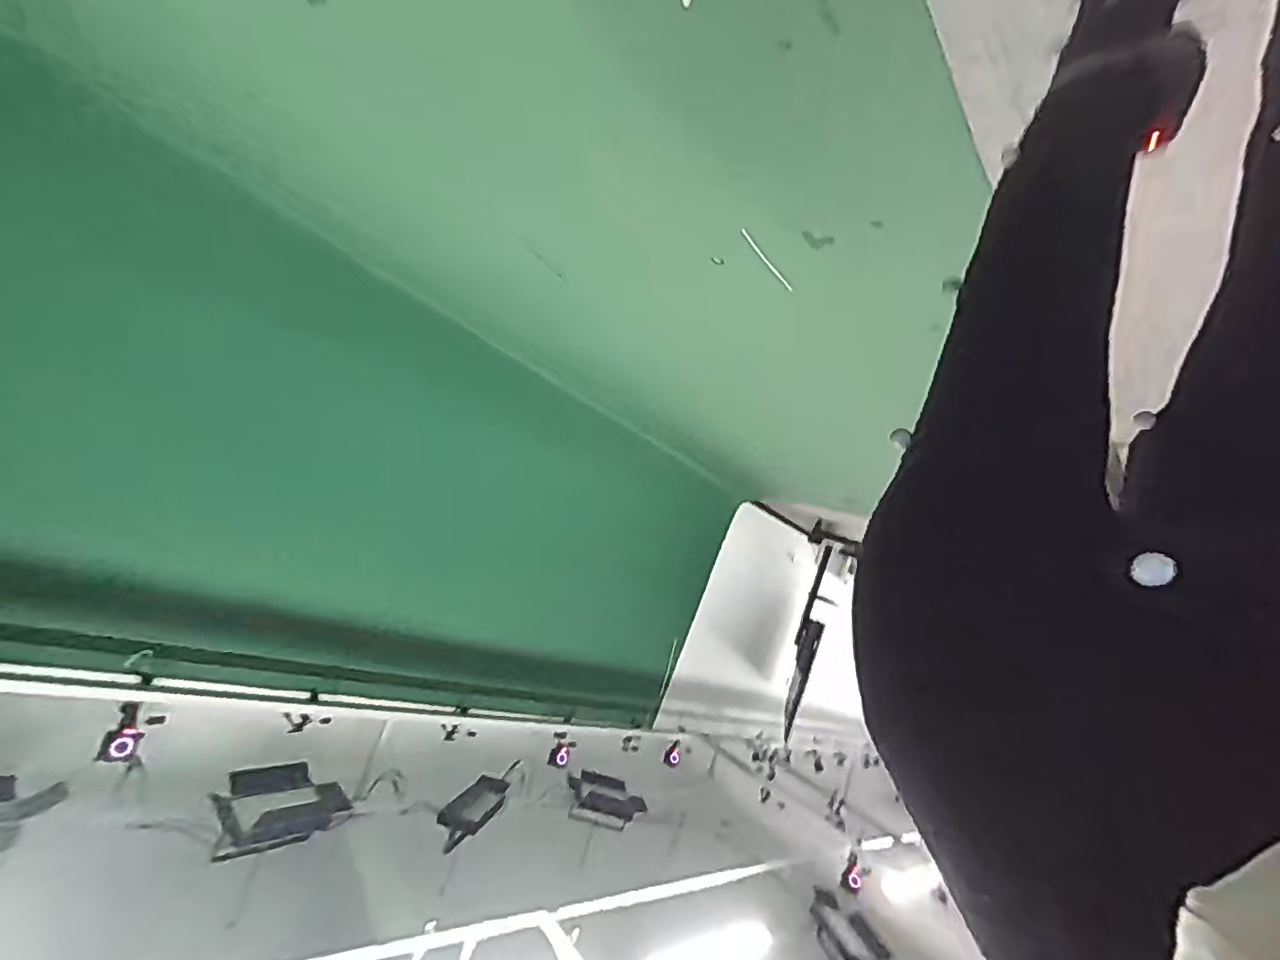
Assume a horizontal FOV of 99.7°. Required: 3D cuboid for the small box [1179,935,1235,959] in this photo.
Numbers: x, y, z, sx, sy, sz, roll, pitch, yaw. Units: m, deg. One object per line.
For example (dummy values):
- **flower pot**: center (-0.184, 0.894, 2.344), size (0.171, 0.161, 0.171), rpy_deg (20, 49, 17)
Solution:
- **small box**: center (1.583, 1.393, 1.464), size (0.179, 0.176, 0.168), rpy_deg (14, 171, 45)
